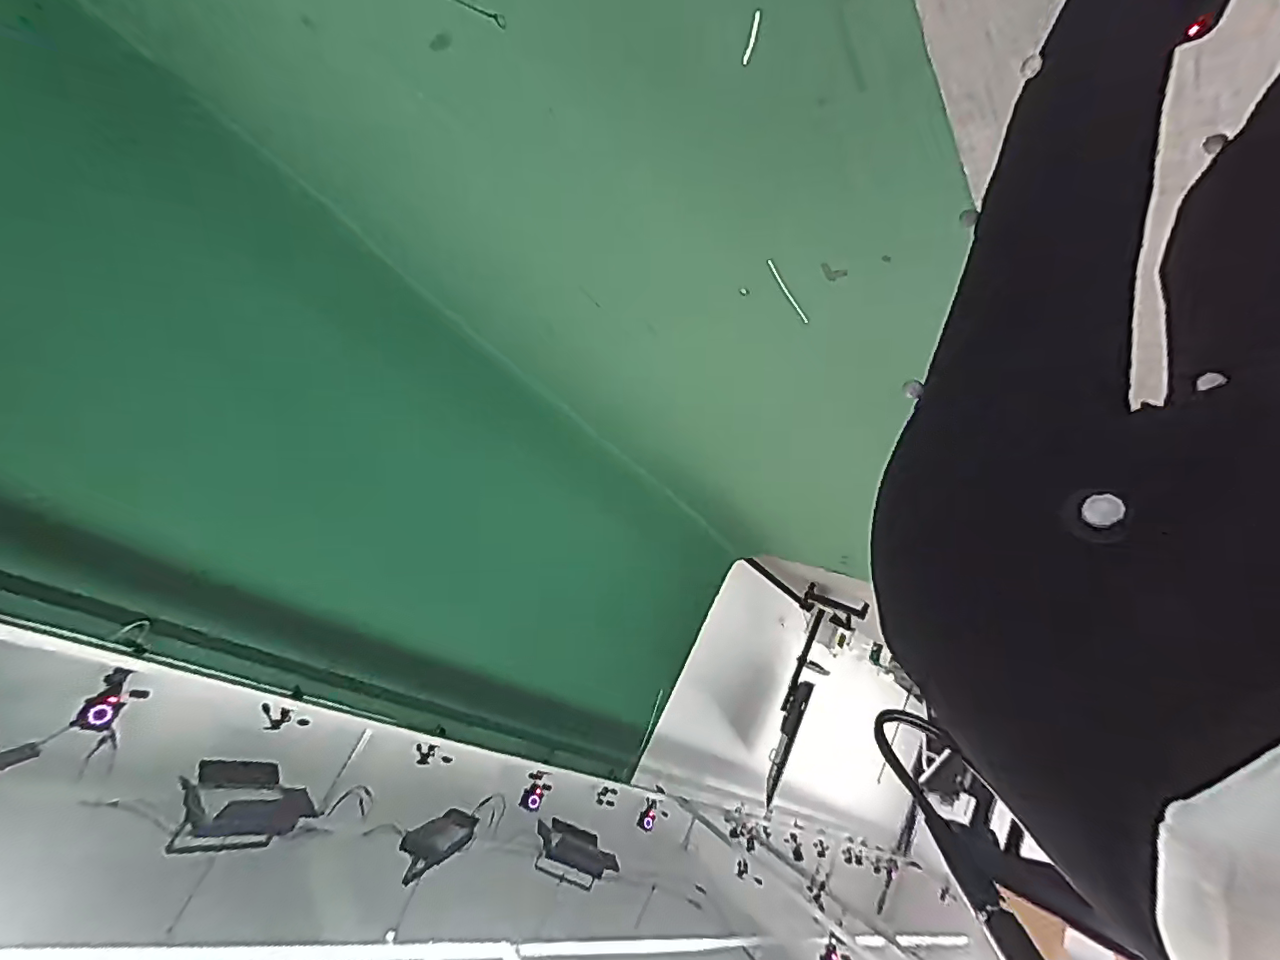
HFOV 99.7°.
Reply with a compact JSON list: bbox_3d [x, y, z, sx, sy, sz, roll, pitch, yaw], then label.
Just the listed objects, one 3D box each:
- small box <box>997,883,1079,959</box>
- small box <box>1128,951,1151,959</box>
[{"bbox_3d":[1.256,1.410,1.698,0.179,0.176,0.168,11,157,46],"label":"small box"},{"bbox_3d":[1.443,1.444,1.482,0.179,0.176,0.168,9,158,49],"label":"small box"}]
